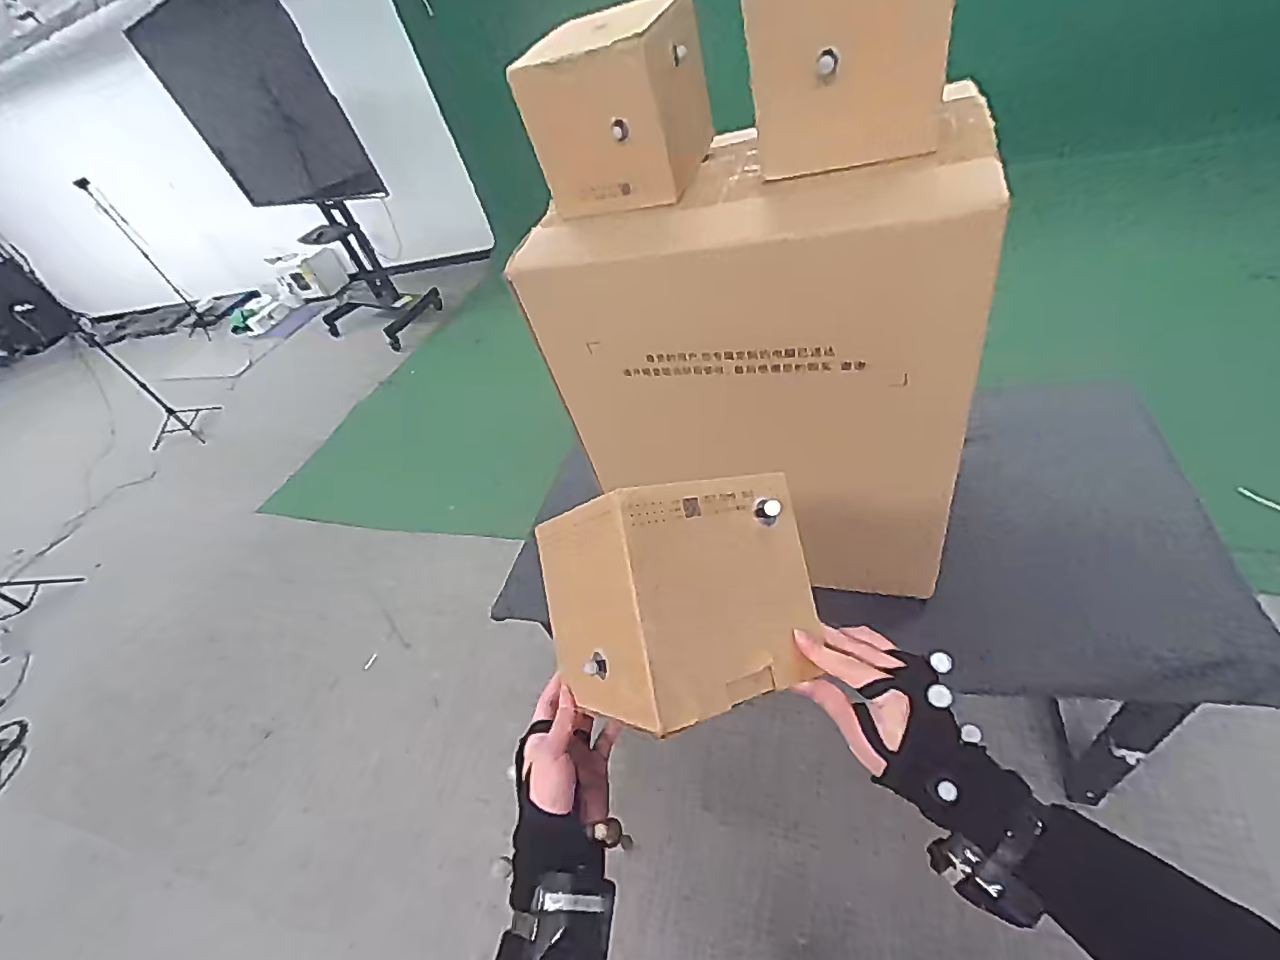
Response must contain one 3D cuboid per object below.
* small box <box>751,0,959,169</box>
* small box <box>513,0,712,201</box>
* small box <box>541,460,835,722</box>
[{"bbox_3d":[0.223,-0.448,0.559,0.179,0.176,0.168,2,50,22],"label":"small box"},{"bbox_3d":[-0.018,-0.455,0.655,0.168,0.176,0.179,7,51,23],"label":"small box"},{"bbox_3d":[0.027,0.080,0.456,0.168,0.176,0.179,-5,-10,-32],"label":"small box"}]
